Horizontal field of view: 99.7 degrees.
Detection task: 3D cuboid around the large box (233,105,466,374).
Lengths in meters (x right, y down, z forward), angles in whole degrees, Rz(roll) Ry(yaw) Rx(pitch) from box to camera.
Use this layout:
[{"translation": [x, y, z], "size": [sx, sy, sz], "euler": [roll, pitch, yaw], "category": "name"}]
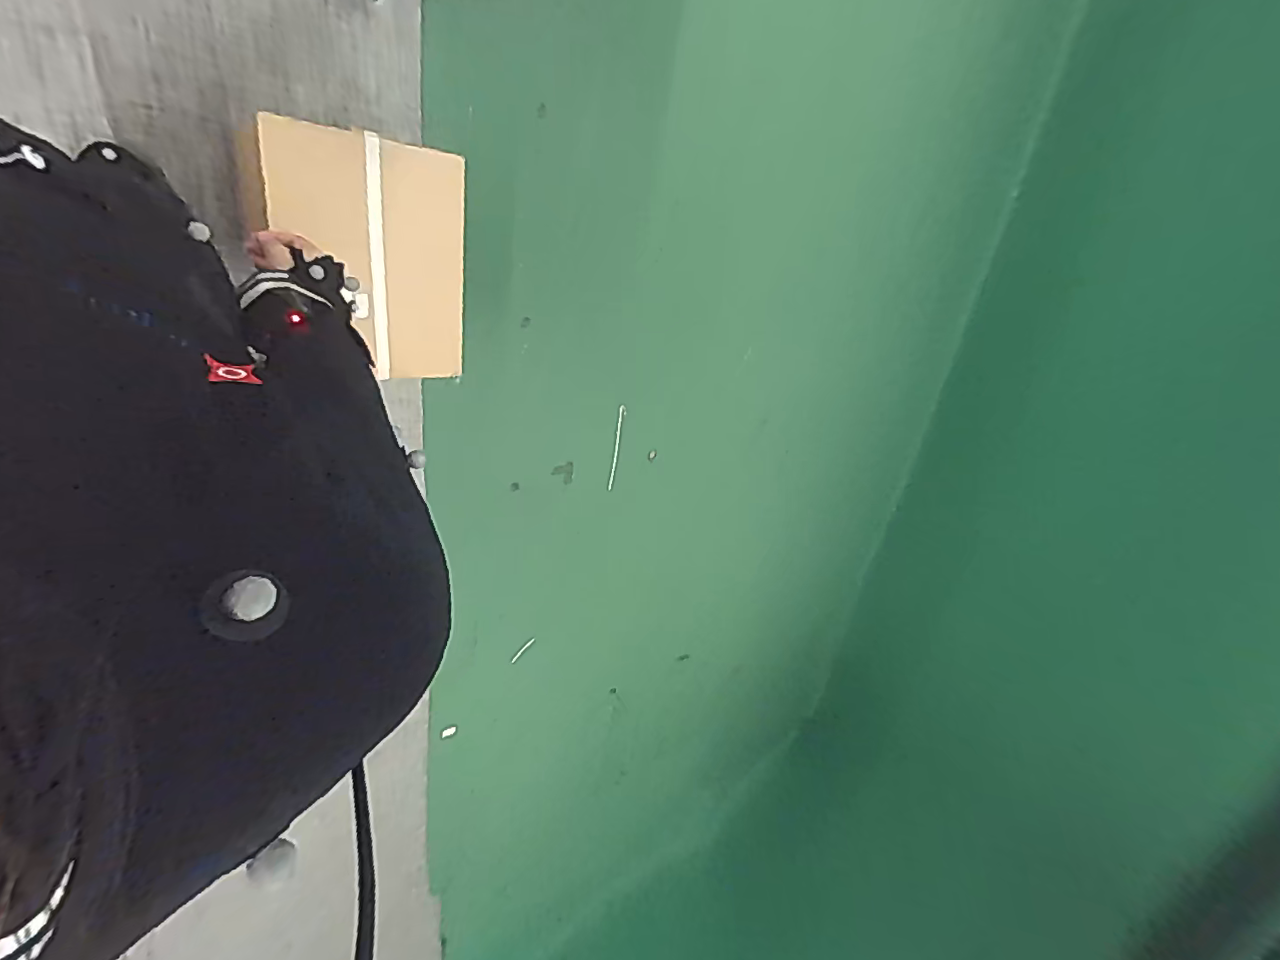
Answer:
[{"translation": [-0.547, -0.448, 1.044], "size": [0.320, 0.320, 0.408], "euler": [-11, 122, -38], "category": "large box"}]
